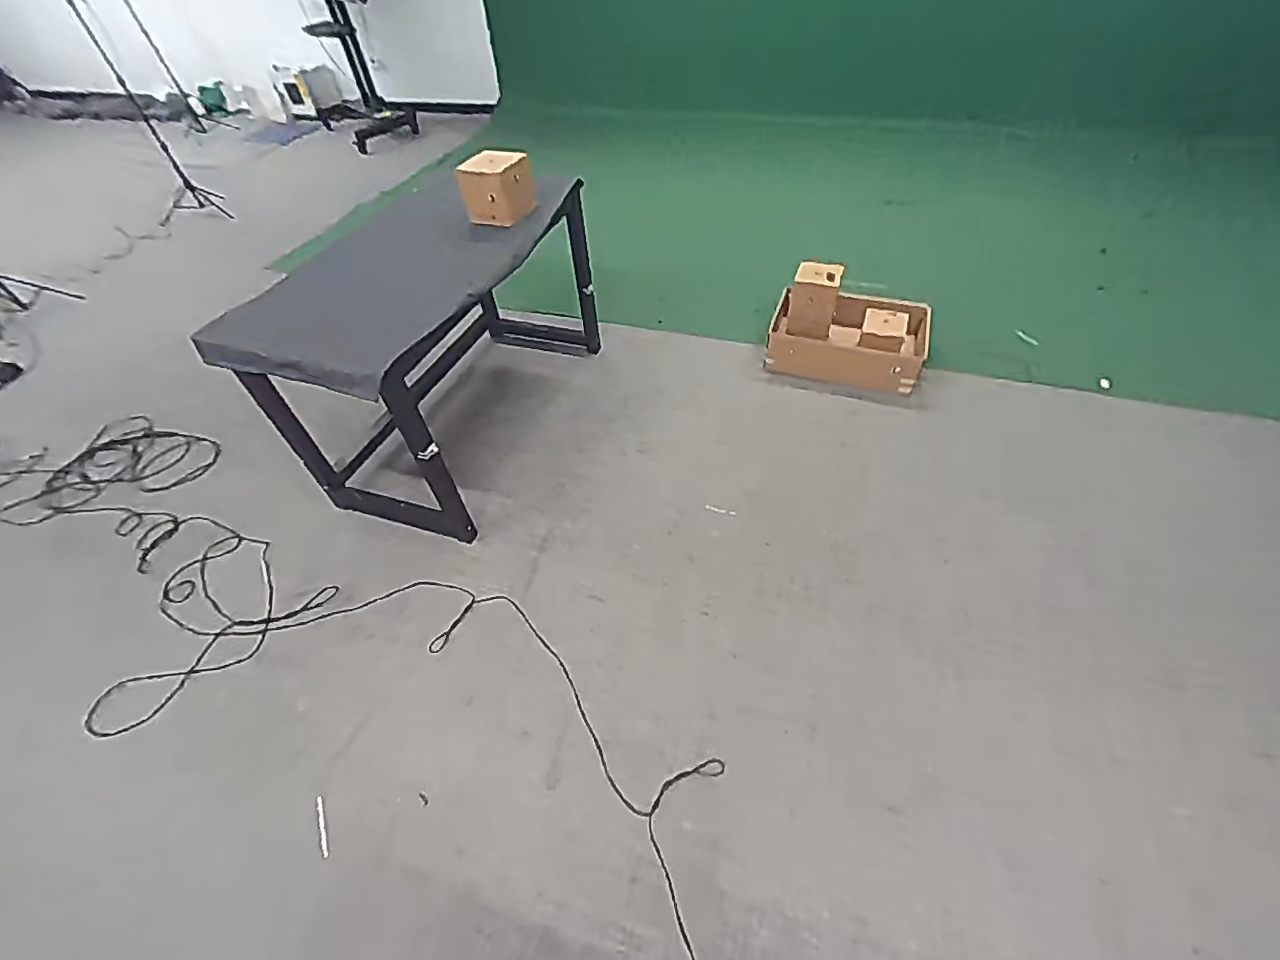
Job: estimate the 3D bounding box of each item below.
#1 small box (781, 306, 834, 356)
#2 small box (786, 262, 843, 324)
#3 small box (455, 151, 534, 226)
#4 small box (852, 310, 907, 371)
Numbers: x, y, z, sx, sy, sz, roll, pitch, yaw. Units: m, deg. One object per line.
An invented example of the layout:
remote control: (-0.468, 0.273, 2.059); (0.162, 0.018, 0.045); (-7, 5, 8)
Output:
small box: (0.719, -0.656, 2.334); (0.179, 0.176, 0.168); (15, 52, 15)
small box: (0.710, -0.760, 2.207); (0.179, 0.176, 0.168); (15, 51, 16)
small box: (-0.468, -0.955, 1.776); (0.168, 0.176, 0.179); (15, 51, 17)
small box: (0.993, -0.580, 2.252); (0.168, 0.176, 0.179); (15, 53, 17)
